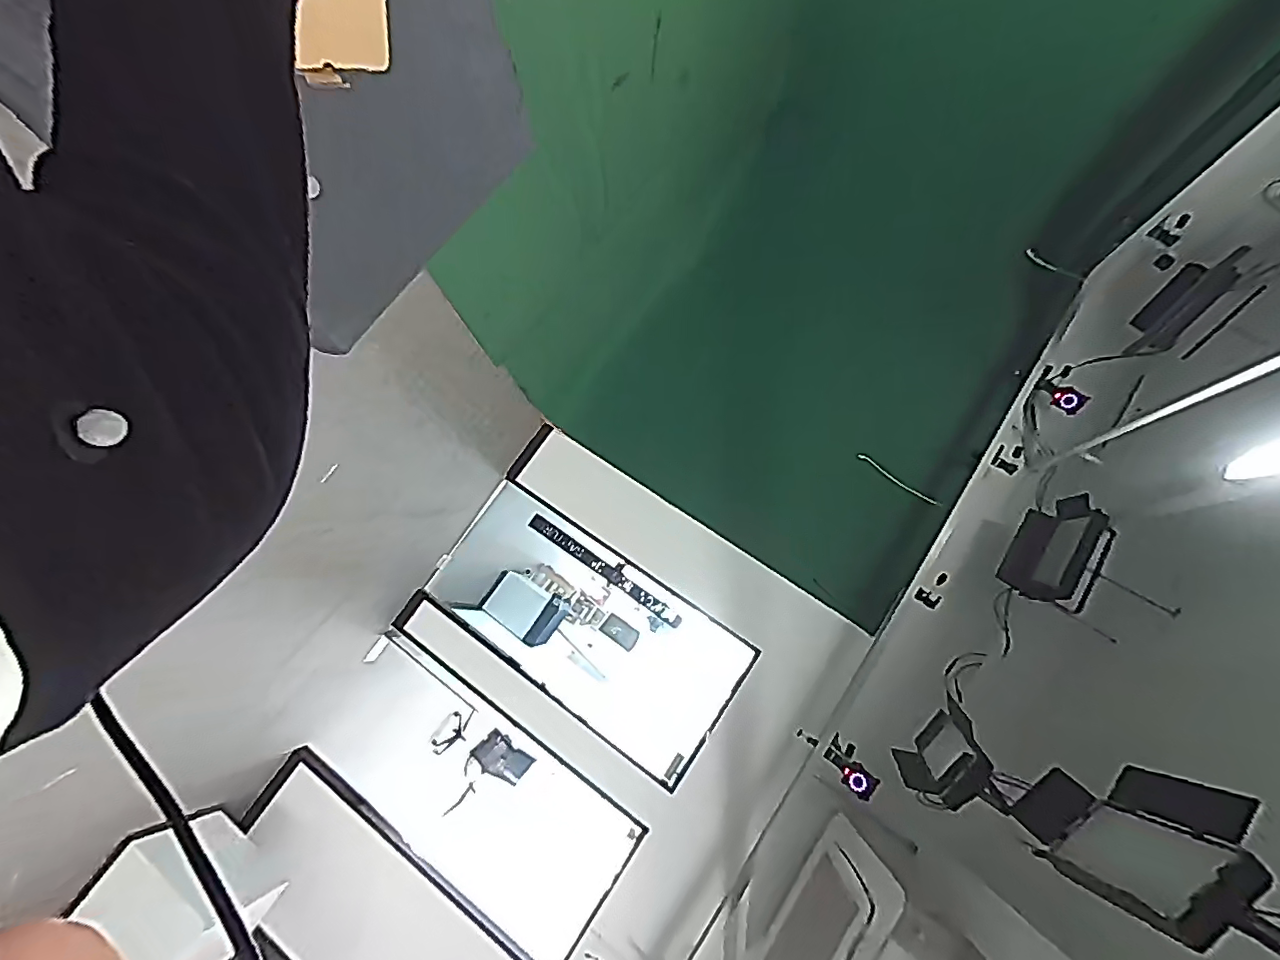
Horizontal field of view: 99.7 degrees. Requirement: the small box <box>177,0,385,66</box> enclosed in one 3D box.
[{"bbox_3d":[-0.395,-0.576,0.568,0.168,0.176,0.179,-41,162,-43],"label":"small box"}]
